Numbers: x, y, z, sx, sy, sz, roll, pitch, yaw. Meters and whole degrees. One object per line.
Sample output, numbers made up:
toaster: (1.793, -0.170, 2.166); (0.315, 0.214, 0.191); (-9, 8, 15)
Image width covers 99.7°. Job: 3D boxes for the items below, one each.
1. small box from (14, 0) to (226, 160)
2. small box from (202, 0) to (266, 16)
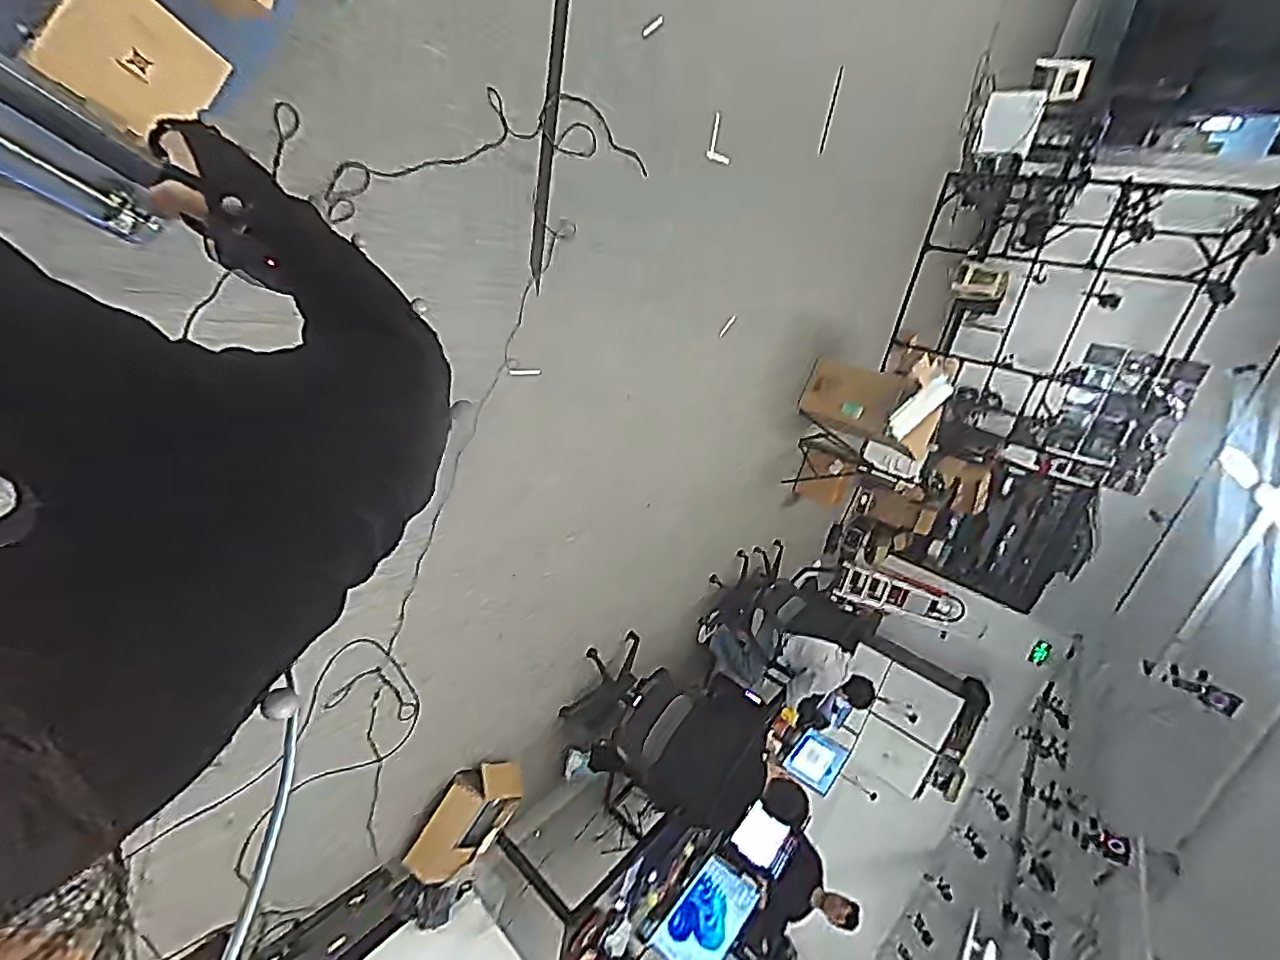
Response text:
small box: (-0.772, -0.613, 0.804); (0.179, 0.176, 0.168); (-62, 147, -4)
small box: (-0.658, -0.845, 0.805); (0.168, 0.176, 0.179); (10, 102, -56)
